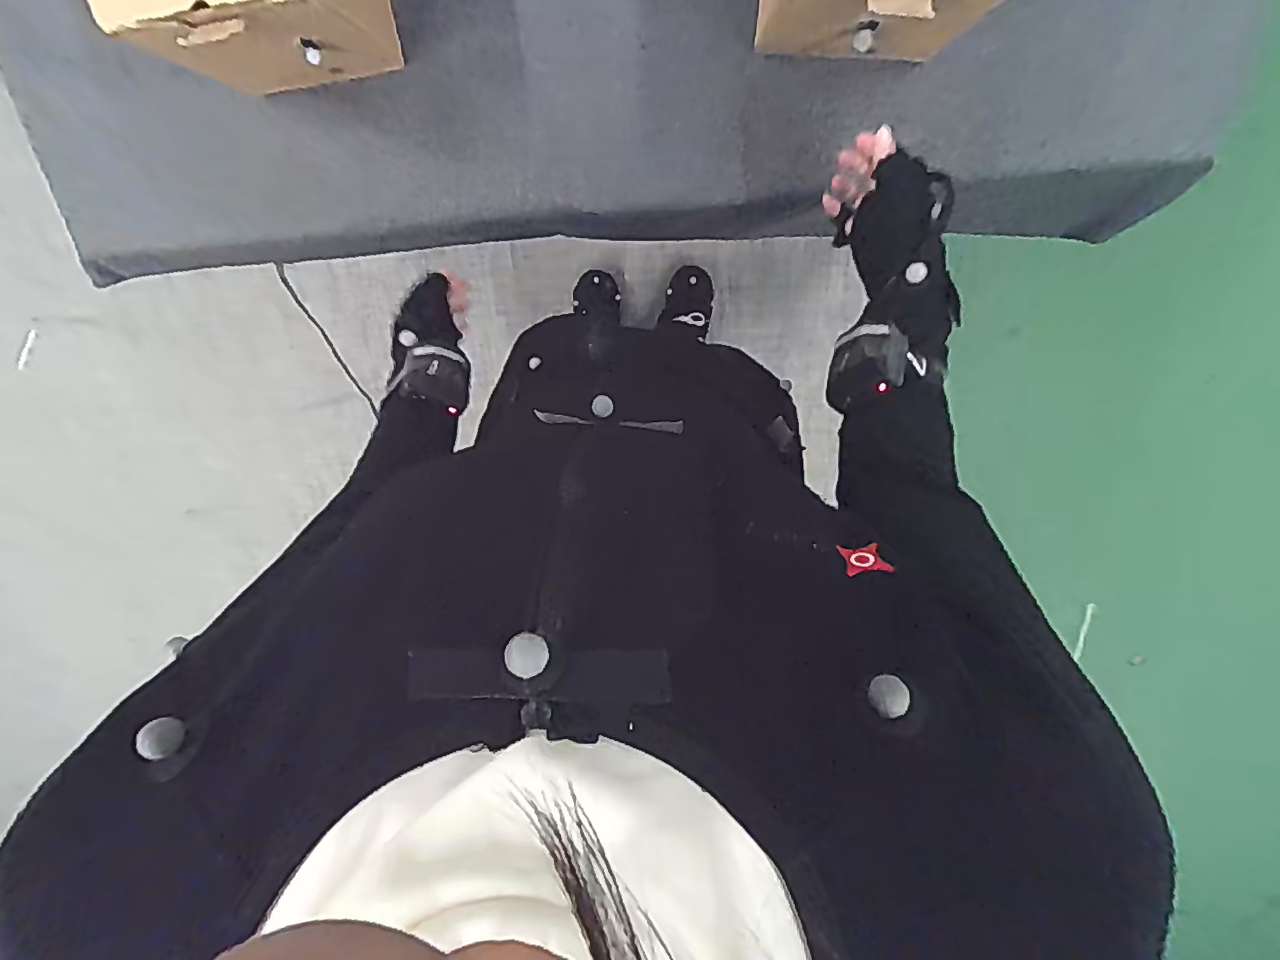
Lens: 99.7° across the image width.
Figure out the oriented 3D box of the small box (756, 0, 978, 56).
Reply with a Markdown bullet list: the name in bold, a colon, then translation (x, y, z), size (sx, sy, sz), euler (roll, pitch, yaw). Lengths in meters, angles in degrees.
- **small box**: translation (0.187, -0.454, 0.414), size (0.168, 0.176, 0.179), euler (4, 114, 3)

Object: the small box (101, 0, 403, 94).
- **small box**: translation (-0.328, -0.452, 0.453), size (0.168, 0.176, 0.179), euler (-7, 110, 5)
